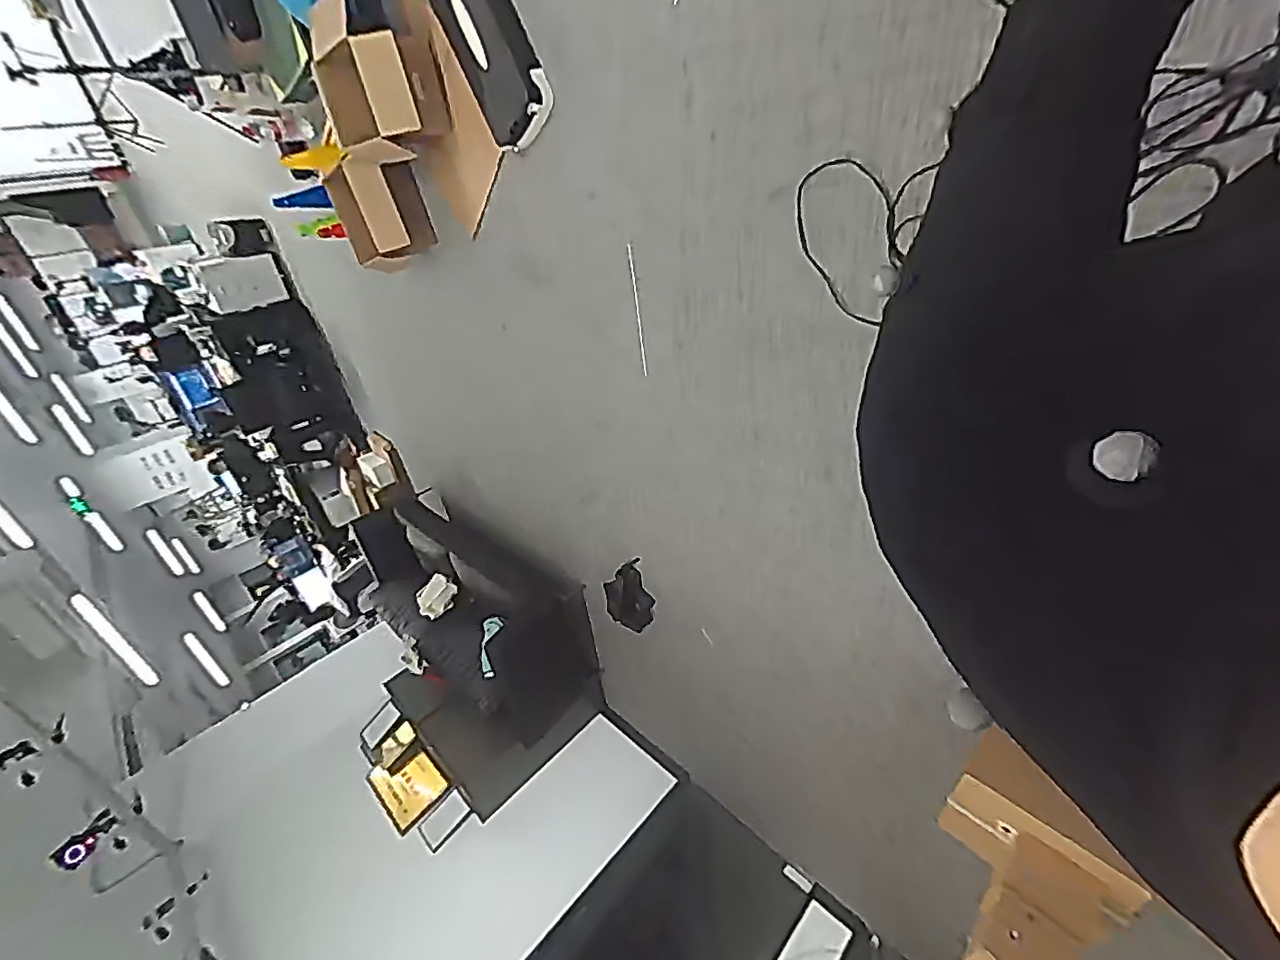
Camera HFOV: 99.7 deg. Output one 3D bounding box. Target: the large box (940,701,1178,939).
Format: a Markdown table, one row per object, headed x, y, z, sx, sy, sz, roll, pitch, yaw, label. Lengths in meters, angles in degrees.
| x | y | z | sx | sy | sz | roll | pitch | yaw | label |
| --- | --- | --- | --- | --- | --- | --- | --- | --- | --- |
| 1.131 | 0.909 | 1.489 | 0.408 | 0.320 | 0.320 | 28 | 136 | 37 | large box |

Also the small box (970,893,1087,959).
| x | y | z | sx | sy | sz | roll | pitch | yaw | label |
| --- | --- | --- | --- | --- | --- | --- | --- | --- | --- |
| 0.875 | 1.096 | 1.228 | 0.168 | 0.176 | 0.179 | 29 | 138 | 38 | small box |
